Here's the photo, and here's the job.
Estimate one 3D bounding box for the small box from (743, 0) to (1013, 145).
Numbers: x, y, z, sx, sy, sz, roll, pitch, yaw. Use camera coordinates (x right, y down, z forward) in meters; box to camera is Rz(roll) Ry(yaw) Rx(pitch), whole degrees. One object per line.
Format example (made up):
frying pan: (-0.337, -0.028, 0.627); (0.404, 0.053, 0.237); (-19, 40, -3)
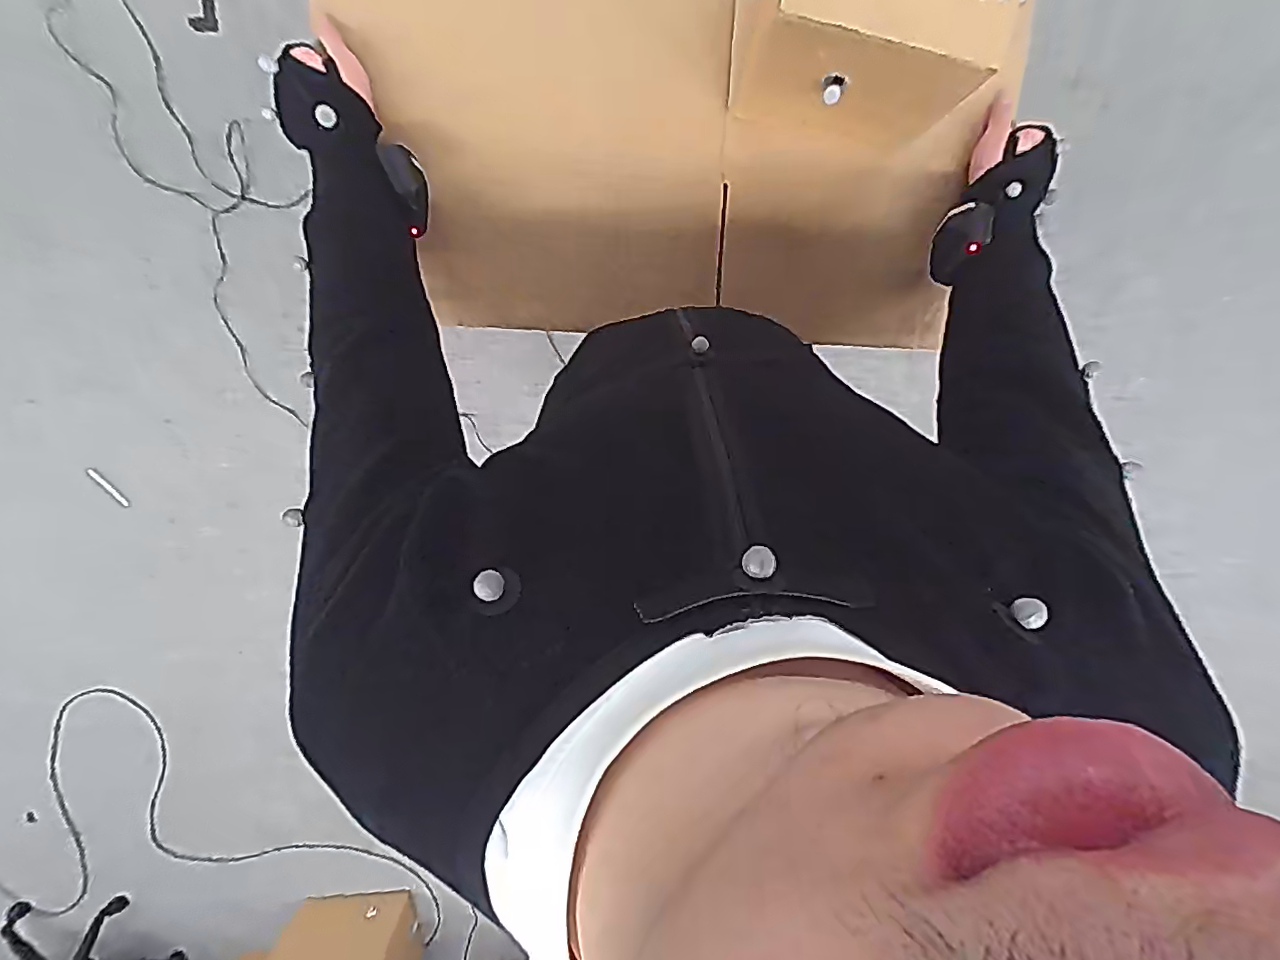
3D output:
small box: (0.200, -0.423, 0.467); (0.179, 0.176, 0.168); (12, 101, -2)
